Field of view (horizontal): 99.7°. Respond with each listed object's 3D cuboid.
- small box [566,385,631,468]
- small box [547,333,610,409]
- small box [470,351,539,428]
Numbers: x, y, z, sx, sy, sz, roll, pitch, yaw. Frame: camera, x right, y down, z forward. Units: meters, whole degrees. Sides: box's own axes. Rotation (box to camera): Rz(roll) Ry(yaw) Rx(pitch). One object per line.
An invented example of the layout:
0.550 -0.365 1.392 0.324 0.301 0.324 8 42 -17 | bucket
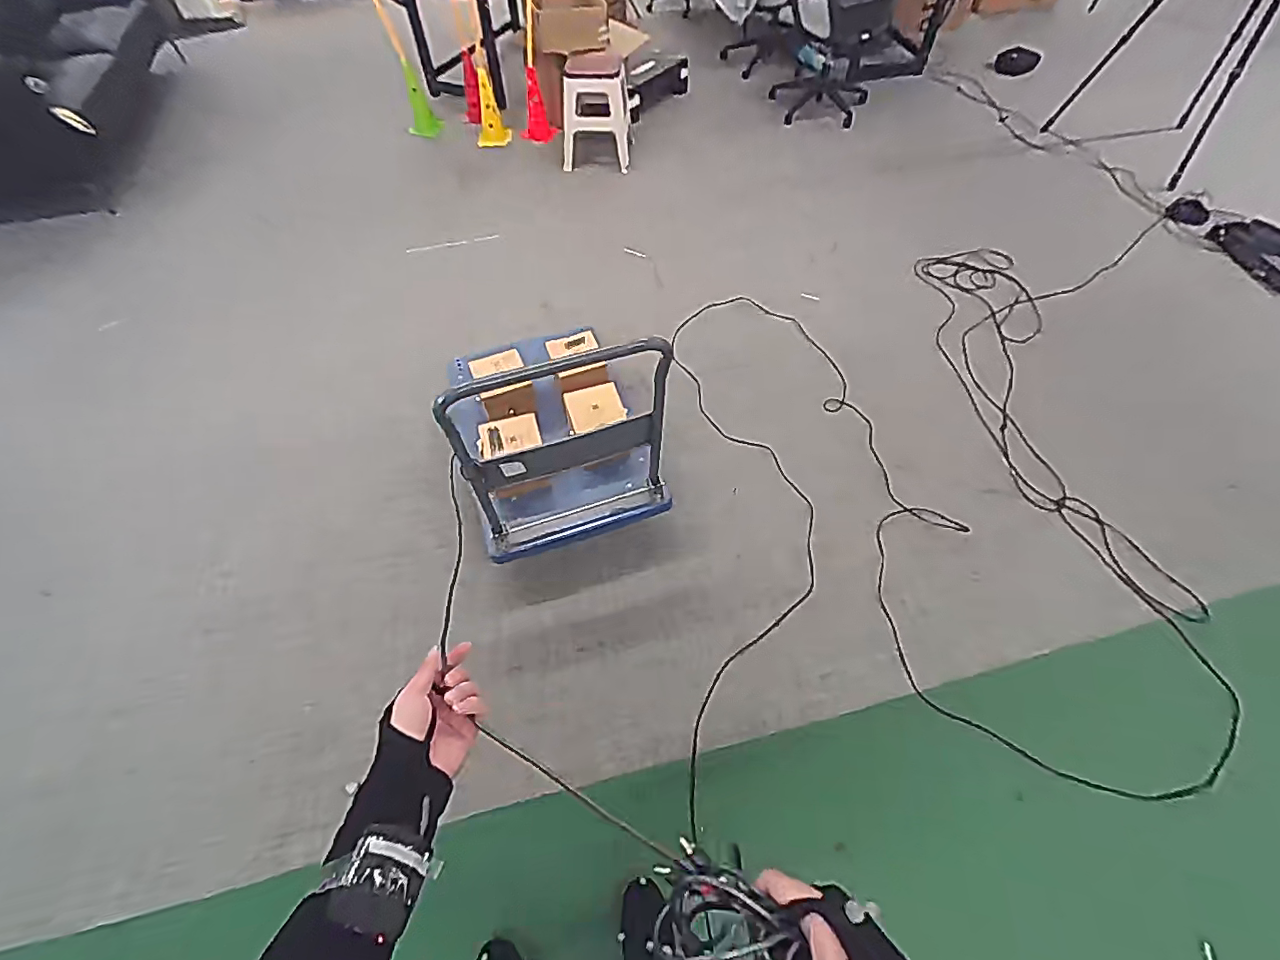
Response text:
-0.131 -0.168 1.717 0.168 0.176 0.179 -15 58 -9 | small box
-0.207 -0.367 1.848 0.168 0.176 0.179 -19 59 -11 | small box
-0.446 -0.293 1.801 0.168 0.176 0.179 -20 58 -13 | small box
